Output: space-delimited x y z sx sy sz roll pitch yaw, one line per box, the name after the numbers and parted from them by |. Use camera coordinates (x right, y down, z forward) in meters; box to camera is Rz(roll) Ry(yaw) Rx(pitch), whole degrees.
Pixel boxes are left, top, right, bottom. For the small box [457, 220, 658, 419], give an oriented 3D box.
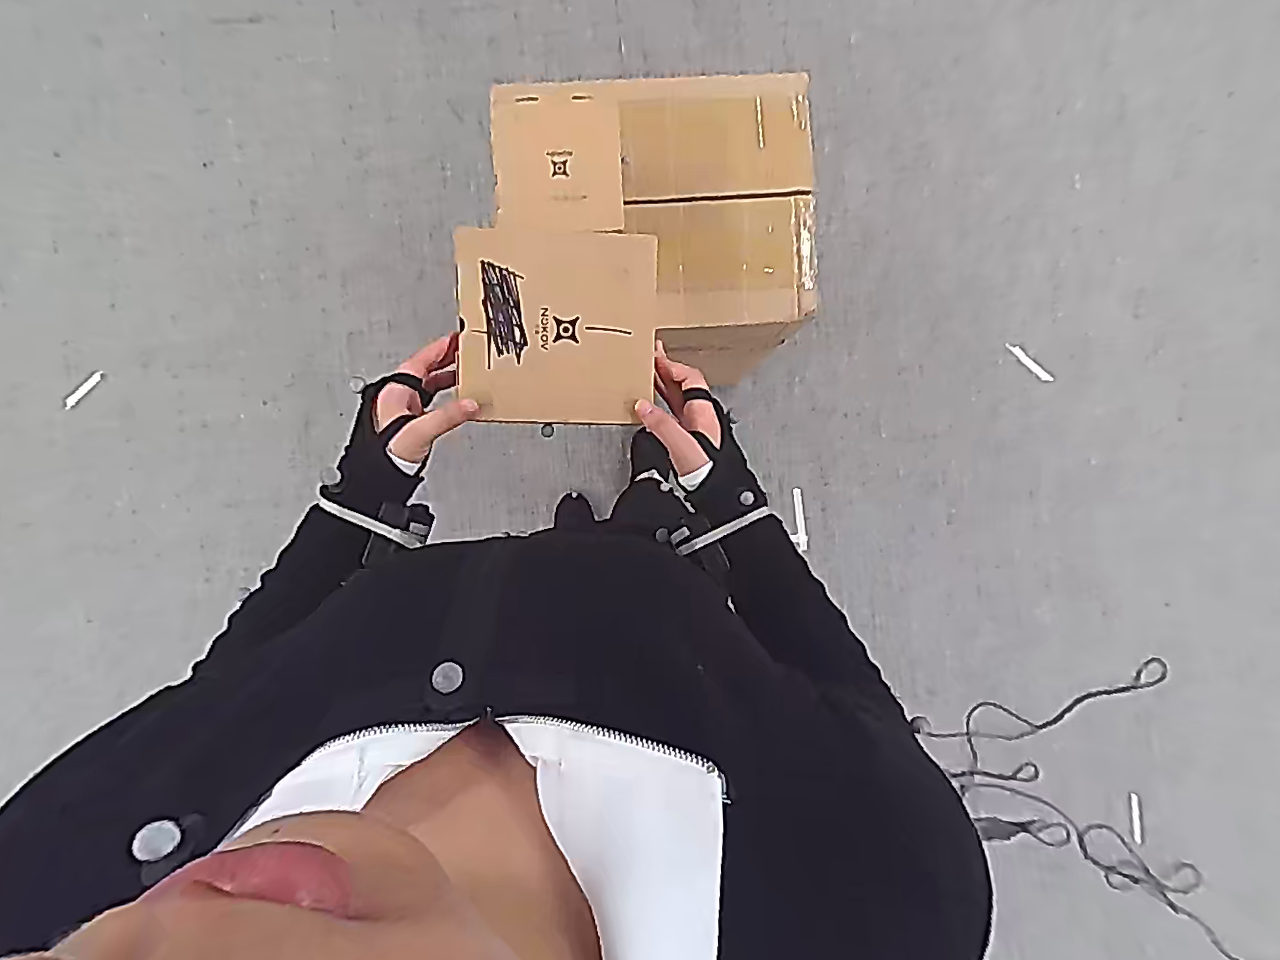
-0.076 -0.149 0.555 0.179 0.176 0.168 1 96 -3 | small box

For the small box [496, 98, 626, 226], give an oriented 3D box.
-0.108 -0.417 0.793 0.168 0.176 0.179 -4 93 -1 | small box
